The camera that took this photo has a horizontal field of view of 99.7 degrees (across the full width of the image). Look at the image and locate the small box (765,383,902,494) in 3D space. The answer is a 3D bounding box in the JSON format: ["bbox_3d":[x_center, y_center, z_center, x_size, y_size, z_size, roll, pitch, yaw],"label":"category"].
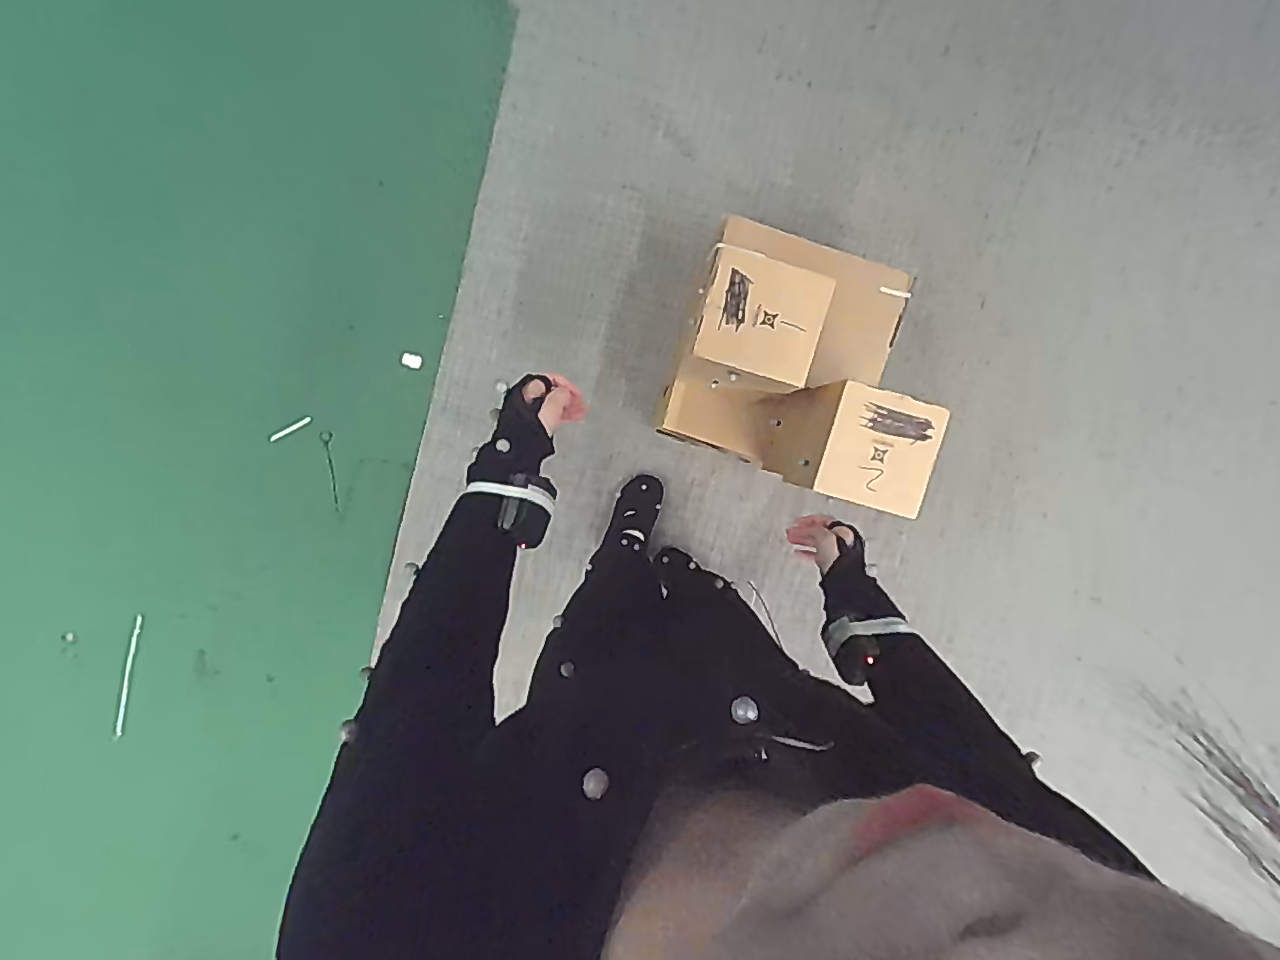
[{"bbox_3d":[0.363,-0.081,1.043,0.179,0.176,0.168,15,94,-2],"label":"small box"}]

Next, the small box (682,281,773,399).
[{"bbox_3d":[0.182,-0.266,1.030,0.168,0.176,0.179,16,93,-1],"label":"small box"}]

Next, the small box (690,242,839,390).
[{"bbox_3d":[0.185,-0.249,0.864,0.179,0.176,0.168,16,94,0],"label":"small box"}]
